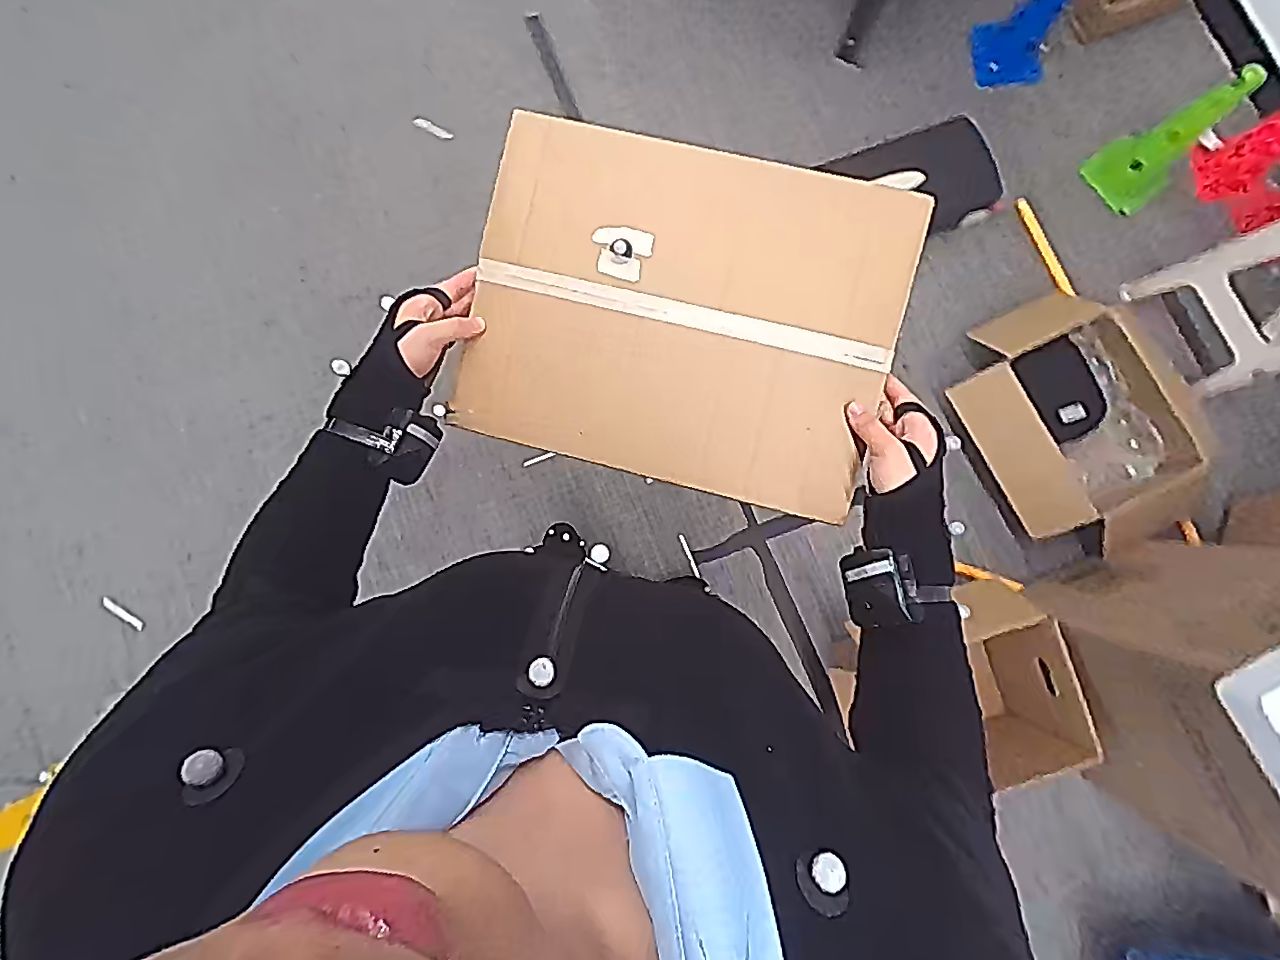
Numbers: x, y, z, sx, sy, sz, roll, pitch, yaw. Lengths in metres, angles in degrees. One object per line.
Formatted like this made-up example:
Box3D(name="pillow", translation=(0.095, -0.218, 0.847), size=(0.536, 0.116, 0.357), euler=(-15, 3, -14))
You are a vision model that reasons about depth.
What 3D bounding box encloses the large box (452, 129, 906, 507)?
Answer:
Box3D(name="large box", translation=(0.044, -0.168, 0.679), size=(0.408, 0.320, 0.320), euler=(13, 93, 5))
